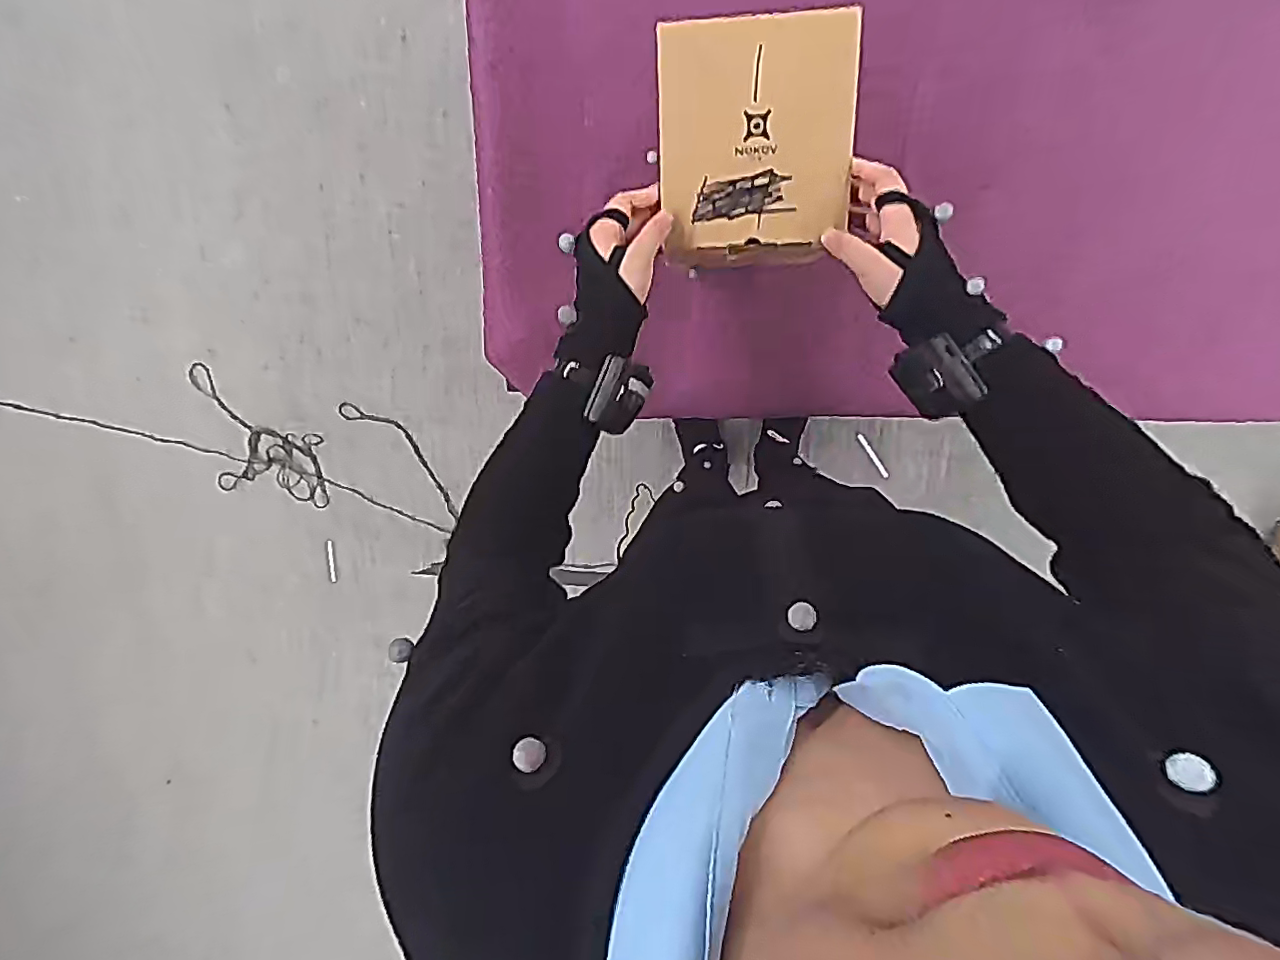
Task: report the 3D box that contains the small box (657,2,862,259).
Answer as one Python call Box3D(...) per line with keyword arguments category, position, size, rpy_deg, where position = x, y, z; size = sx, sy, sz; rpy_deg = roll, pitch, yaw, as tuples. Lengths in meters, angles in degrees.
Box3D(category="small box", position=(0.105, -0.319, 0.536), size=(0.168, 0.176, 0.179), rpy_deg=(-1, 106, 5))
